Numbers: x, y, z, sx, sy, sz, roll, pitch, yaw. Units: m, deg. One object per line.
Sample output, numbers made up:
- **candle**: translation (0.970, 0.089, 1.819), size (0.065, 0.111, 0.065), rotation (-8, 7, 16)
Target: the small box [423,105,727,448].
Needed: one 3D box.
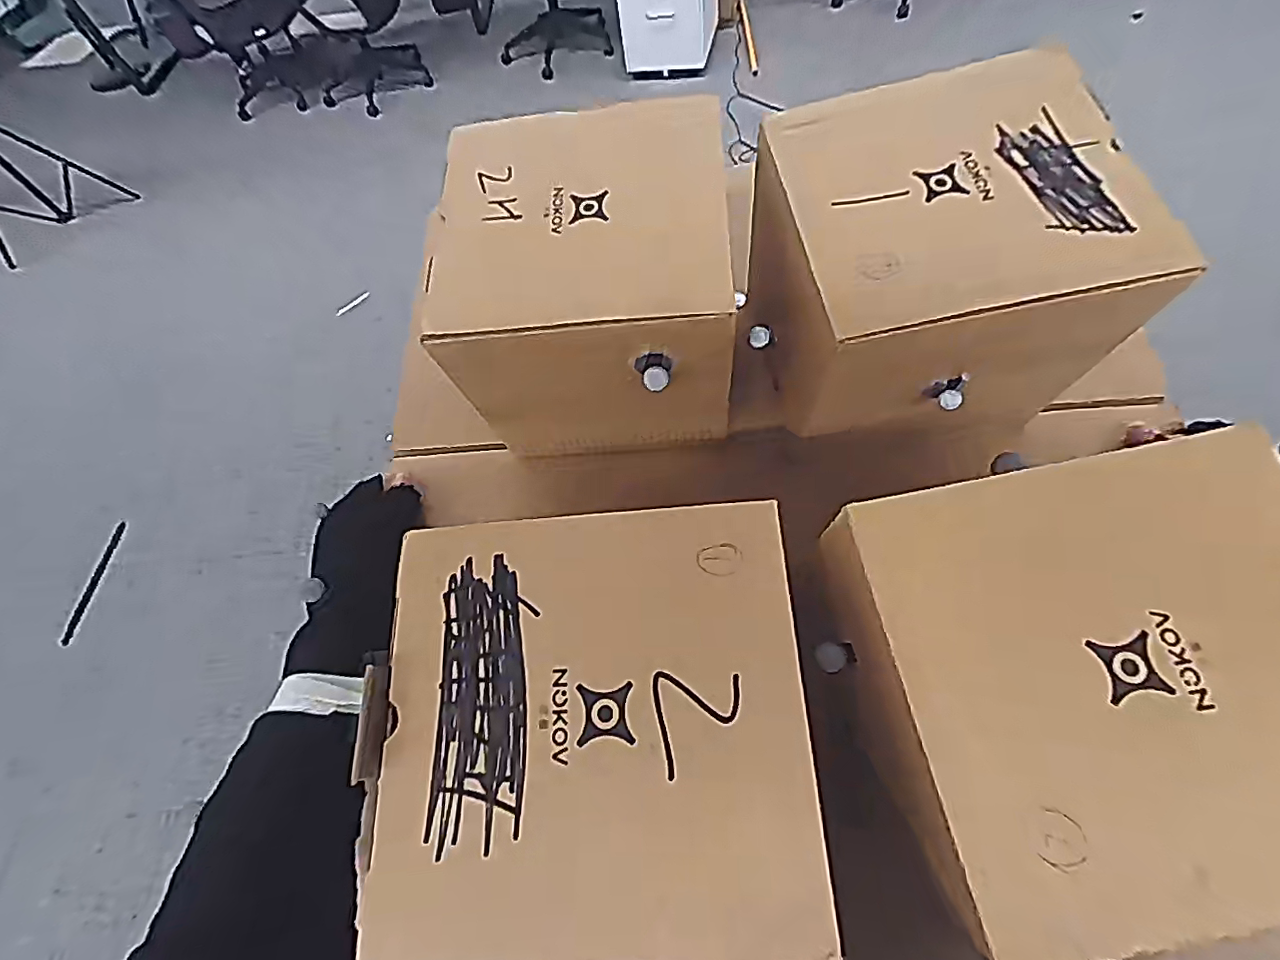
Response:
- **small box**: translation (-0.029, -0.132, 0.403), size (0.179, 0.176, 0.168), rotation (-3, 68, 7)
